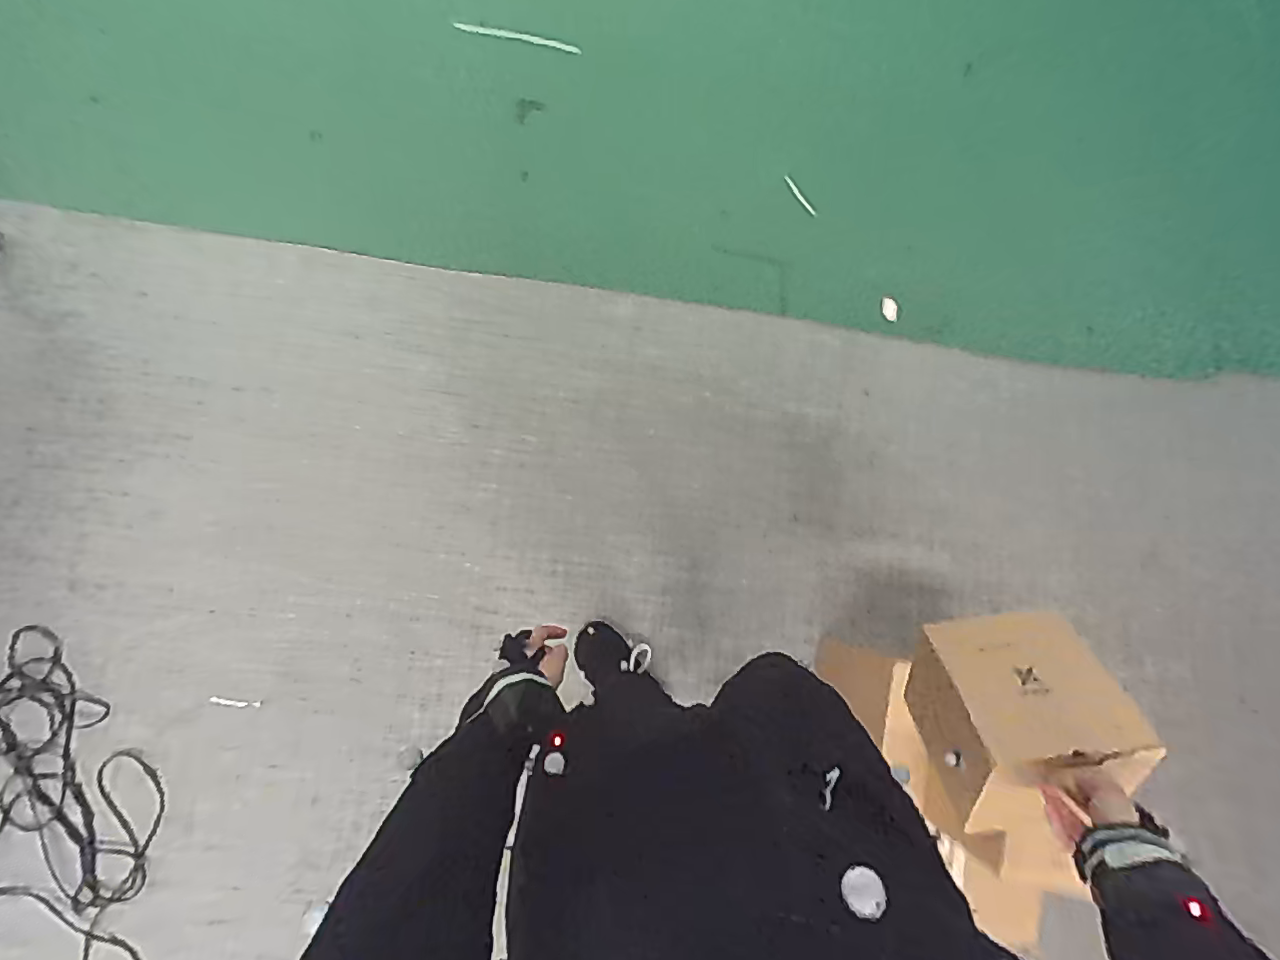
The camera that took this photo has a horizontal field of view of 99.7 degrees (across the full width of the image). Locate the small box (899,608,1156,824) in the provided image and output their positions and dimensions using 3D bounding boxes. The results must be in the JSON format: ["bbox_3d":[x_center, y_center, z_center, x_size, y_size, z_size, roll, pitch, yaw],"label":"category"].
[{"bbox_3d":[0.433,0.283,0.643,0.168,0.179,0.176,-8,125,2],"label":"small box"}]
